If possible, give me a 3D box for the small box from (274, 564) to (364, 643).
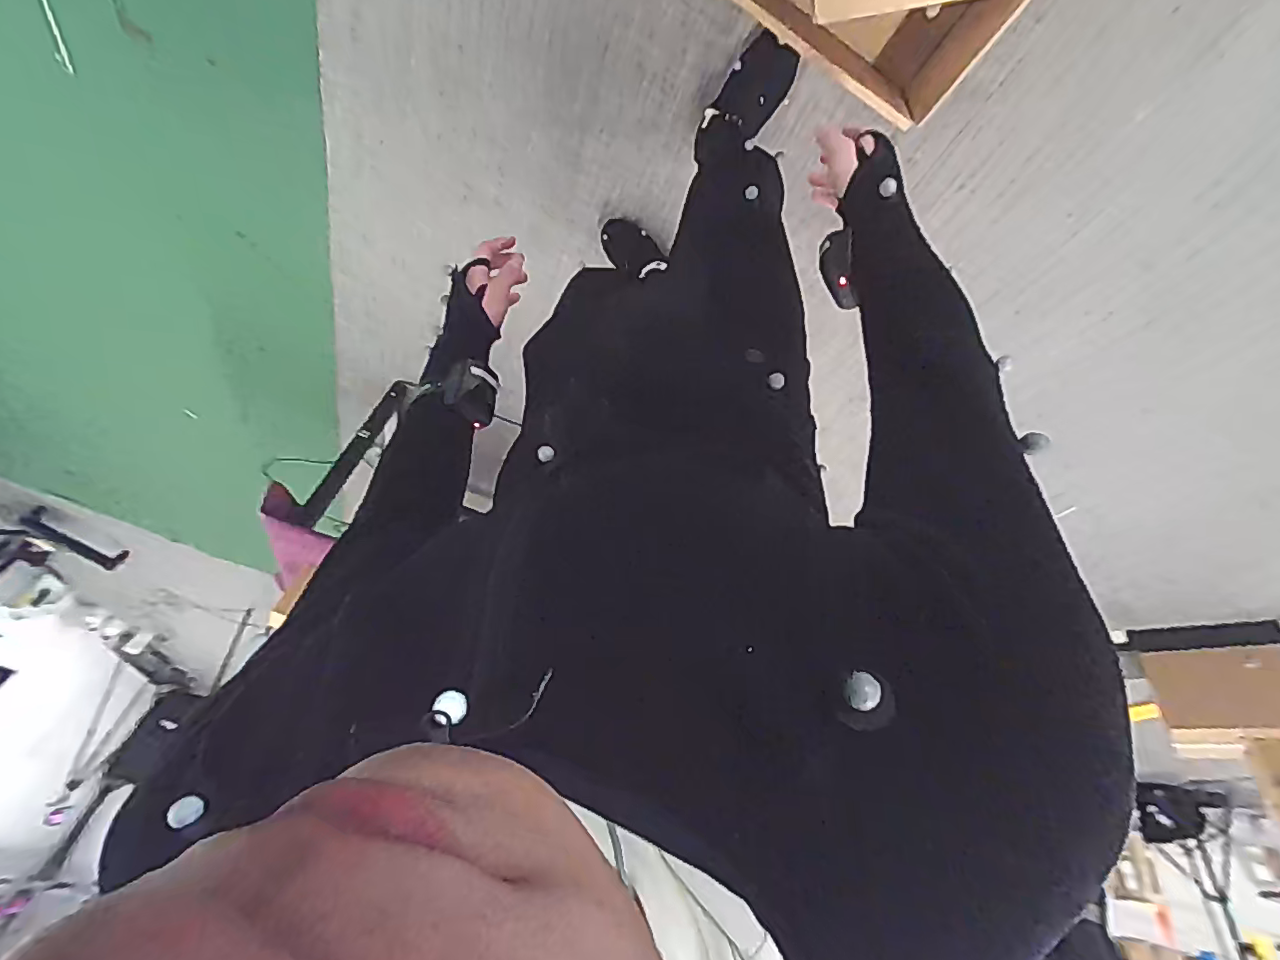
[{"bbox_3d":[-1.001,0.380,1.688,0.179,0.176,0.168,29,139,-19],"label":"small box"}]
